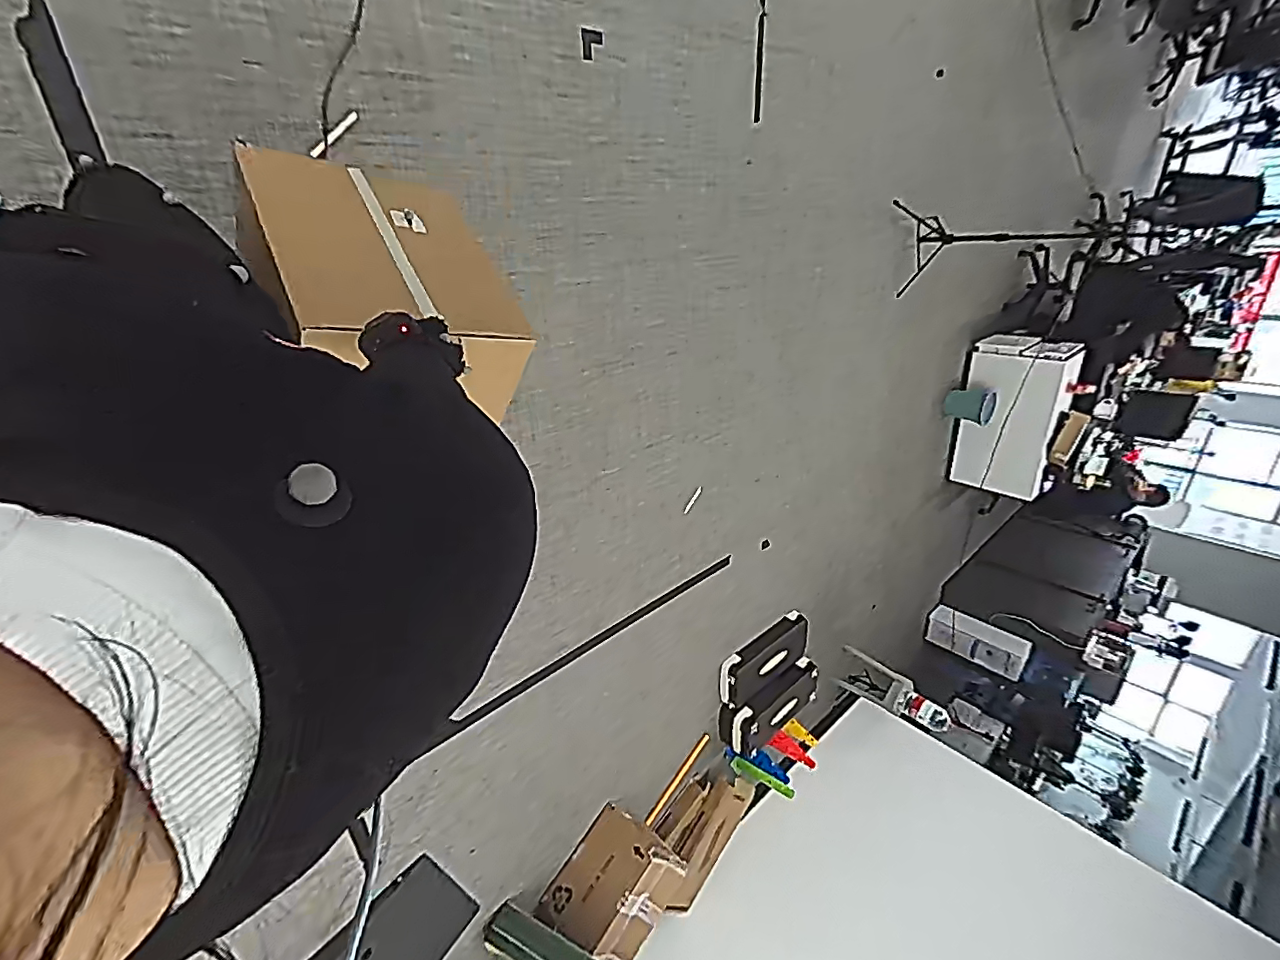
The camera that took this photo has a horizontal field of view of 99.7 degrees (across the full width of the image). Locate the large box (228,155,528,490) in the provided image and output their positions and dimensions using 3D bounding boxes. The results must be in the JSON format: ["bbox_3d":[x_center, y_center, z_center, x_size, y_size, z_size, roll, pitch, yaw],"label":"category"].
[{"bbox_3d":[-0.449,-0.246,0.897,0.320,0.408,0.320,-10,146,-43],"label":"large box"}]
